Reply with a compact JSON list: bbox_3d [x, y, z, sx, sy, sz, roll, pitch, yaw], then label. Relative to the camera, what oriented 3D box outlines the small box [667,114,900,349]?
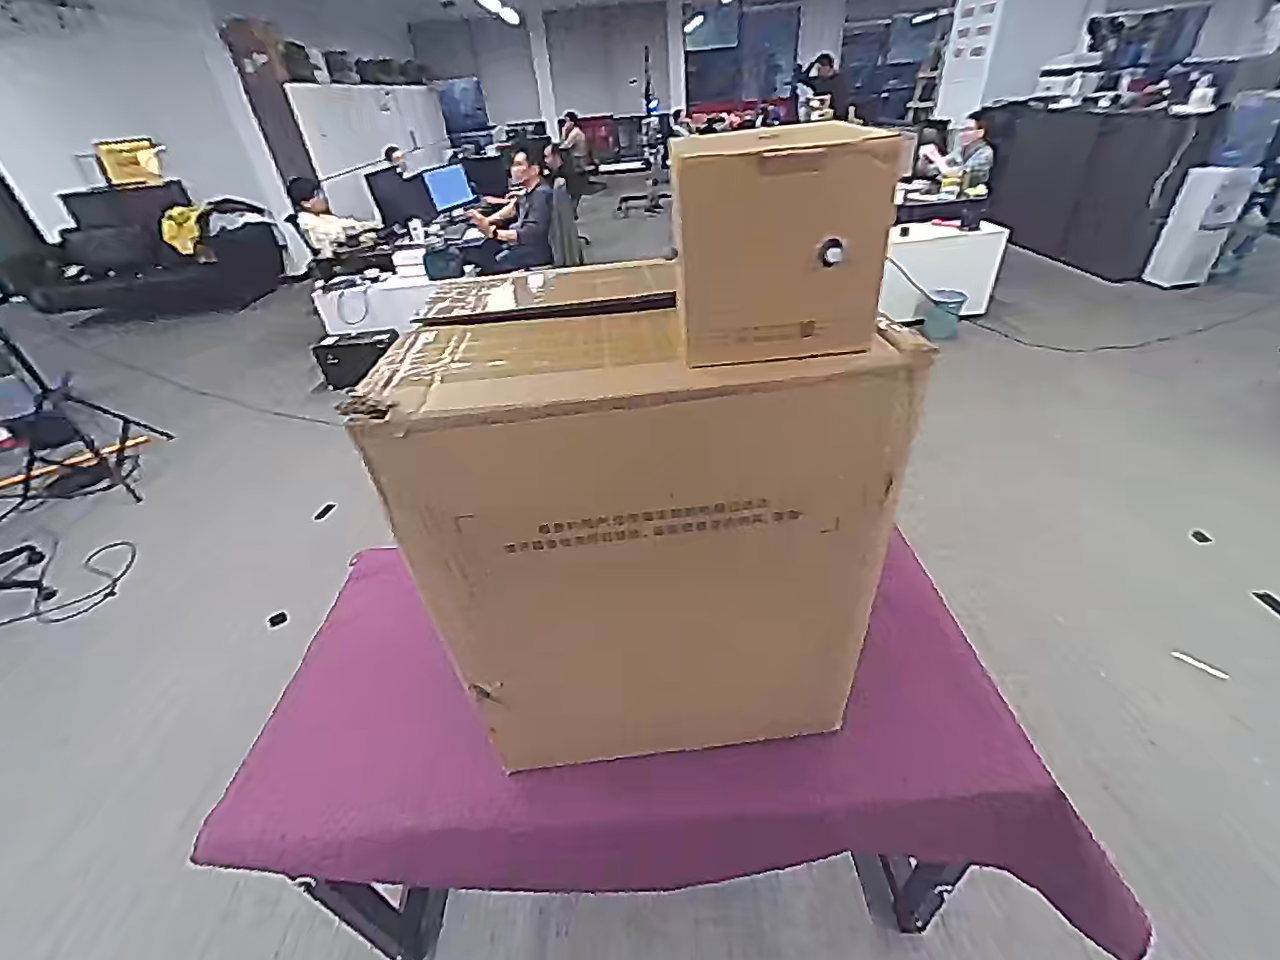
[{"bbox_3d":[0.115,-0.228,0.504,0.168,0.176,0.179,-4,35,2],"label":"small box"}]
